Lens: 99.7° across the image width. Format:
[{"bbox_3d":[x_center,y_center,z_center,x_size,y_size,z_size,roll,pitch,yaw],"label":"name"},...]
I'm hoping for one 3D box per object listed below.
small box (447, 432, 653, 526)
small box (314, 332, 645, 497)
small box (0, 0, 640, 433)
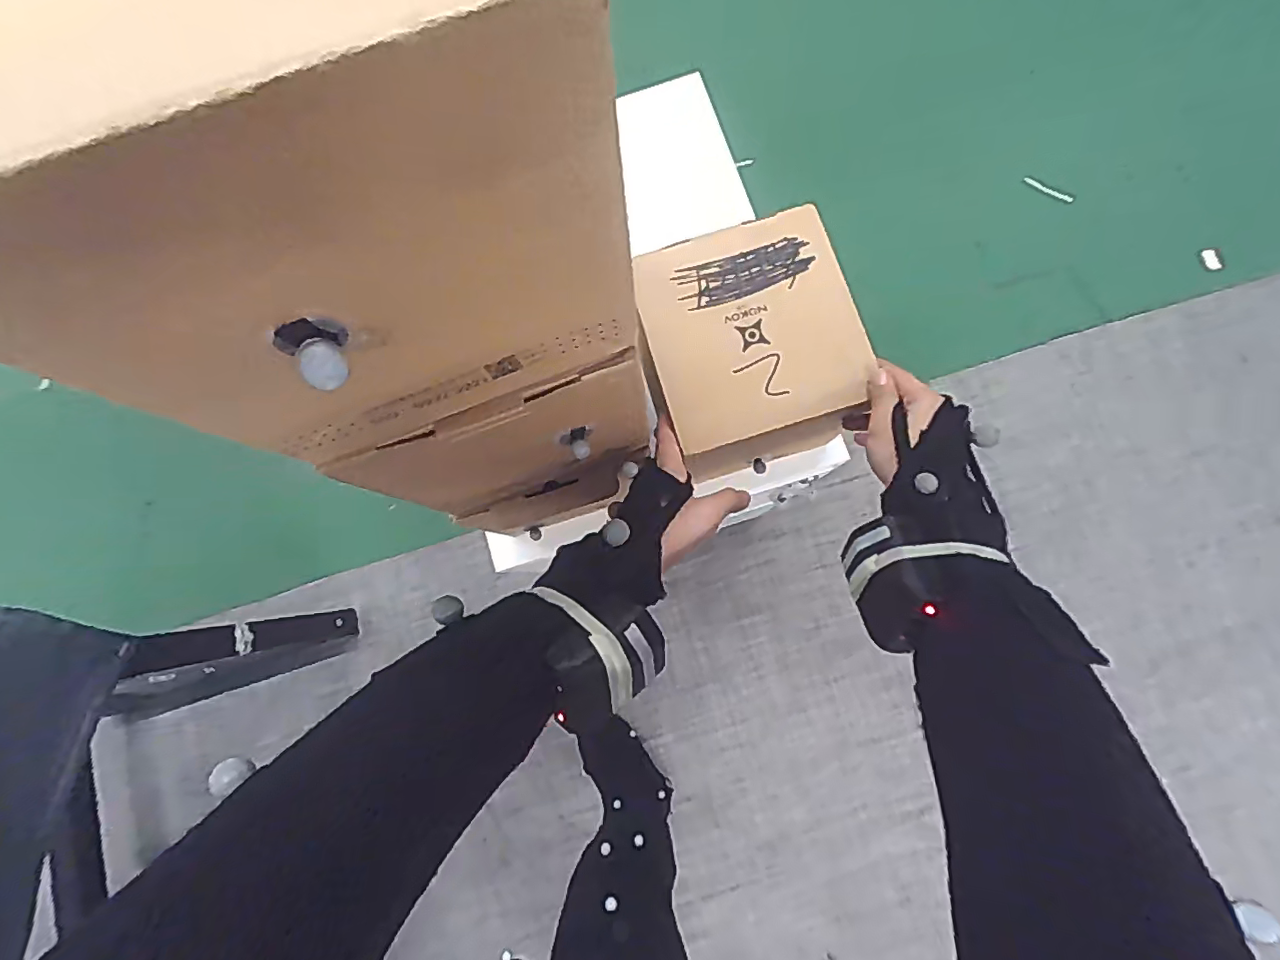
[{"bbox_3d":[-0.087,-0.060,0.510,0.168,0.176,0.179,-17,79,-1],"label":"small box"},{"bbox_3d":[-0.098,-0.096,0.352,0.168,0.176,0.179,-19,79,-2],"label":"small box"},{"bbox_3d":[-0.104,-0.129,0.192,0.168,0.176,0.179,-21,79,-2],"label":"small box"}]
